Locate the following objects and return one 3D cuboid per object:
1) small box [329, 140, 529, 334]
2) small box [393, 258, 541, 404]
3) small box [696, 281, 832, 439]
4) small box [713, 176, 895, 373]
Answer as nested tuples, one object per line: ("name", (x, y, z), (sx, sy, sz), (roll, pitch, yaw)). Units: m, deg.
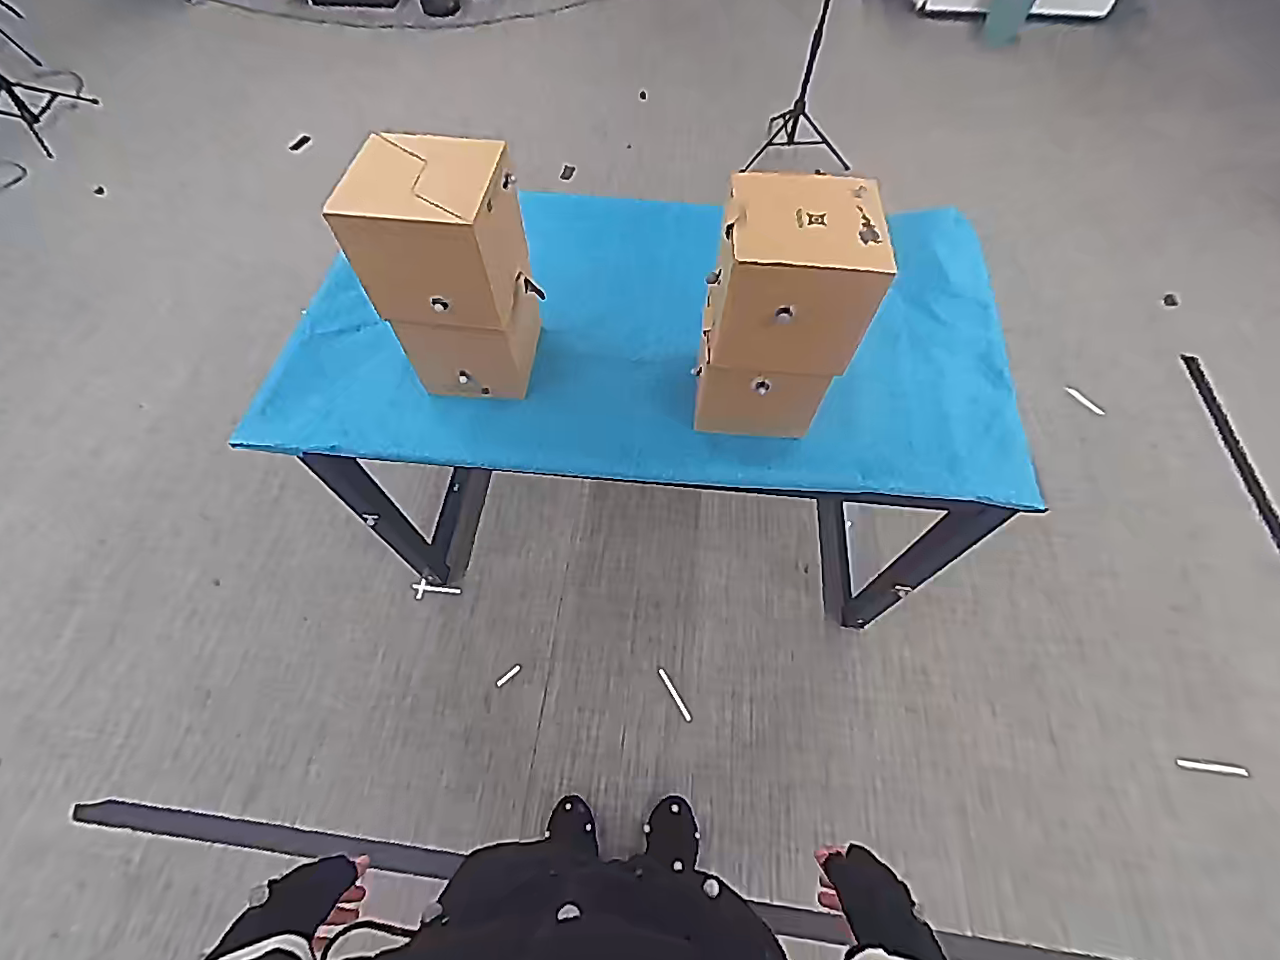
("small box", (-0.262, -0.318, 0.713), (0.179, 0.176, 0.168), (6, 61, 3))
("small box", (-0.263, -0.247, 0.865), (0.168, 0.176, 0.179), (7, 63, 5))
("small box", (0.179, -0.177, 0.822), (0.179, 0.176, 0.168), (5, 61, 3))
("small box", (0.186, -0.250, 0.677), (0.179, 0.176, 0.168), (2, 61, 0))
